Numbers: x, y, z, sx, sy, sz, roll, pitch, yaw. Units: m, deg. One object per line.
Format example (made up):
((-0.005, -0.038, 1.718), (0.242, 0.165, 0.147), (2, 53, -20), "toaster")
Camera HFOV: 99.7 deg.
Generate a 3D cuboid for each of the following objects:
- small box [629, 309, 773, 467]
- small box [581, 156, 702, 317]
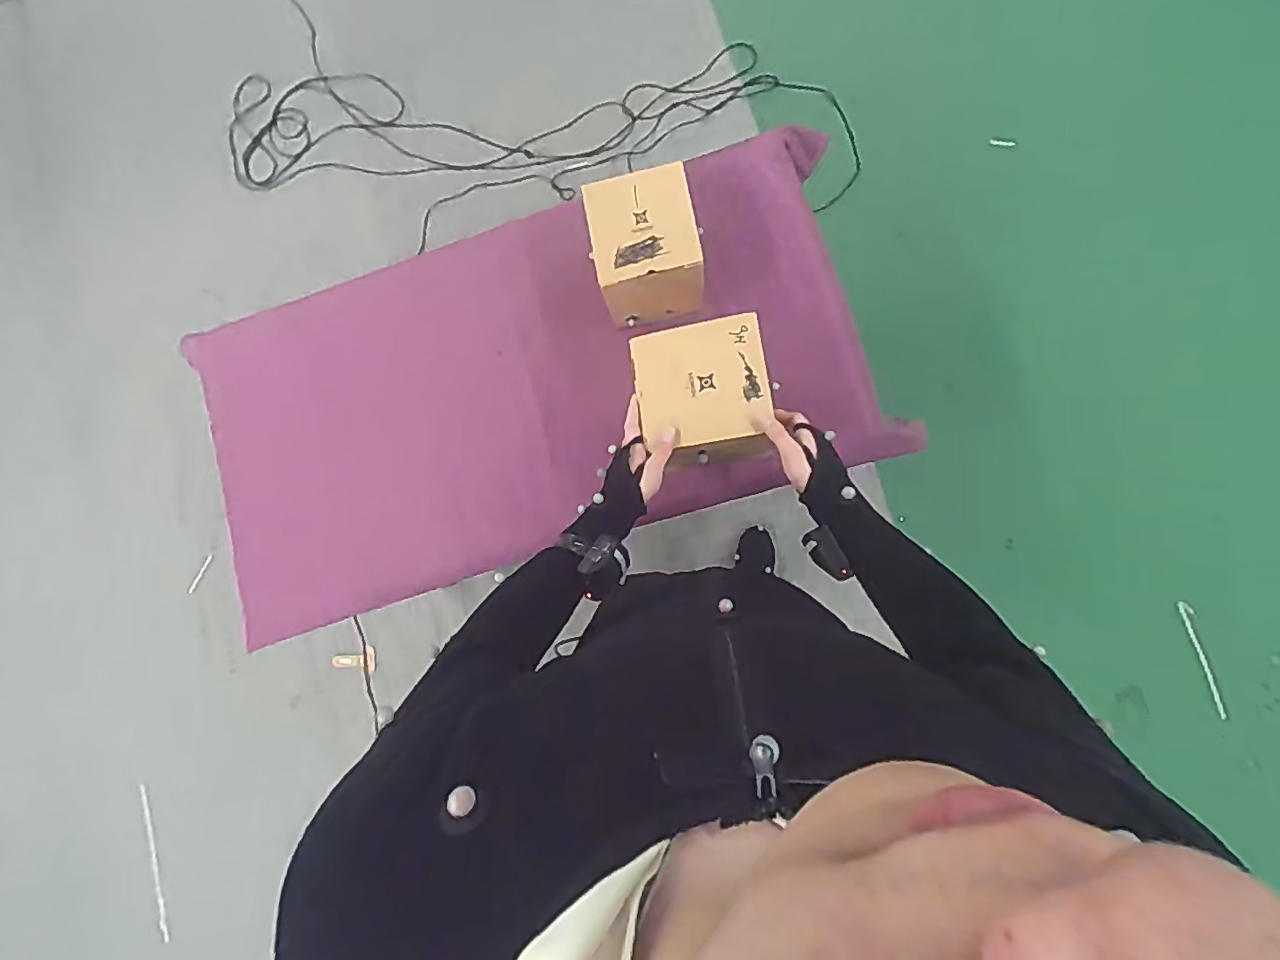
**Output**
((0.094, -0.119, 0.777), (0.179, 0.176, 0.168), (-8, 81, 12), "small box")
((0.010, -0.391, 0.906), (0.168, 0.176, 0.179), (-11, 82, 5), "small box")
